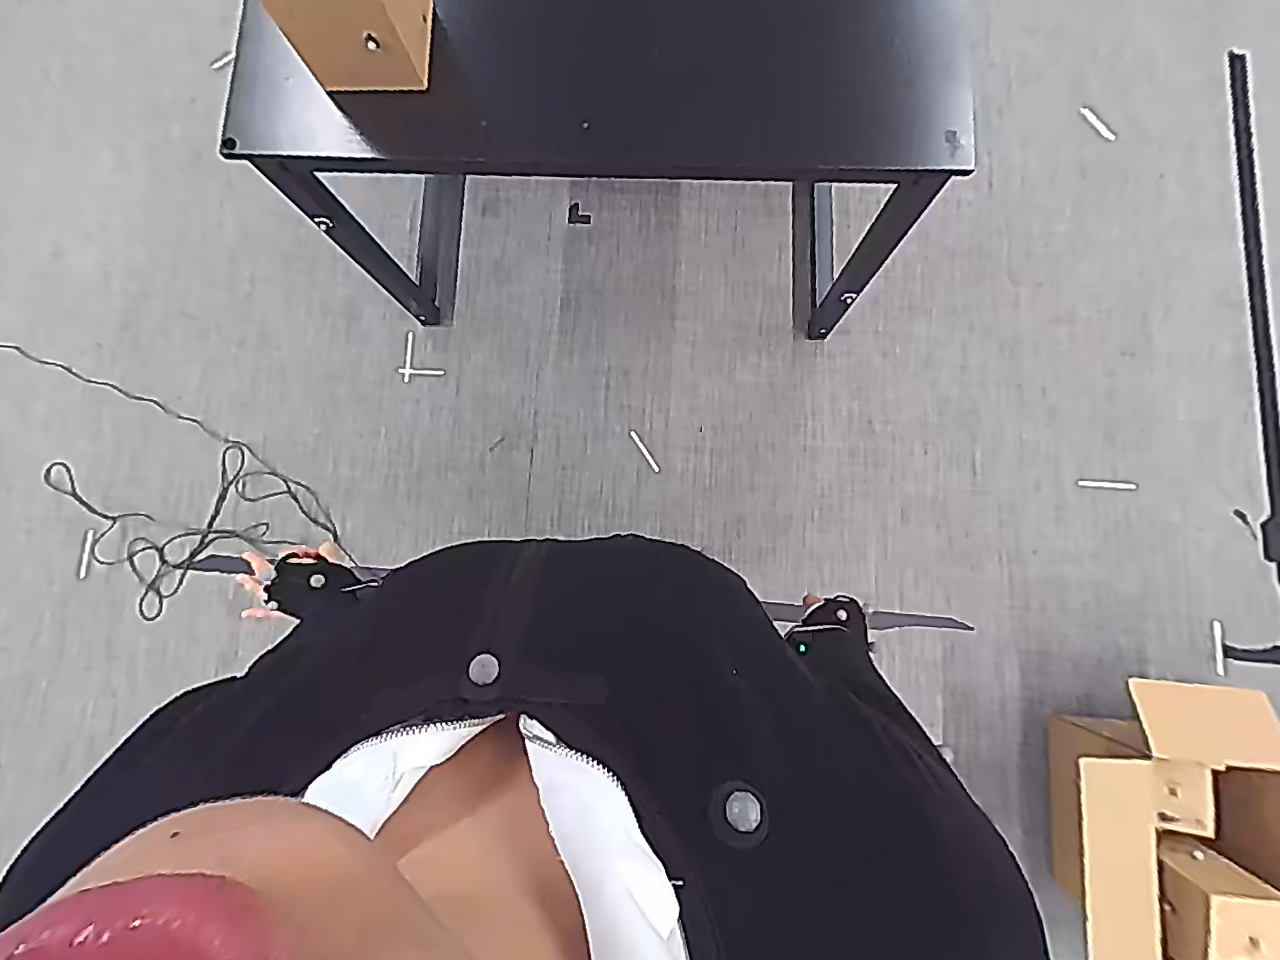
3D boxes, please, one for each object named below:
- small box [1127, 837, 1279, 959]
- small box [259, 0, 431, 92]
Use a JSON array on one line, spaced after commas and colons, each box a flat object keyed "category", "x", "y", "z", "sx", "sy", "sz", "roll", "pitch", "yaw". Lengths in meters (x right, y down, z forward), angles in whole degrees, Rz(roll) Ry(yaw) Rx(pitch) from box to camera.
[{"category": "small box", "x": 1.157, "y": 0.882, "z": 1.113, "sx": 0.168, "sy": 0.176, "sz": 0.179, "roll": 6, "pitch": 87, "yaw": 2}, {"category": "small box", "x": -0.437, "y": -0.729, "z": 0.822, "sx": 0.179, "sy": 0.176, "sz": 0.168, "roll": 0, "pitch": 82, "yaw": 3}]
